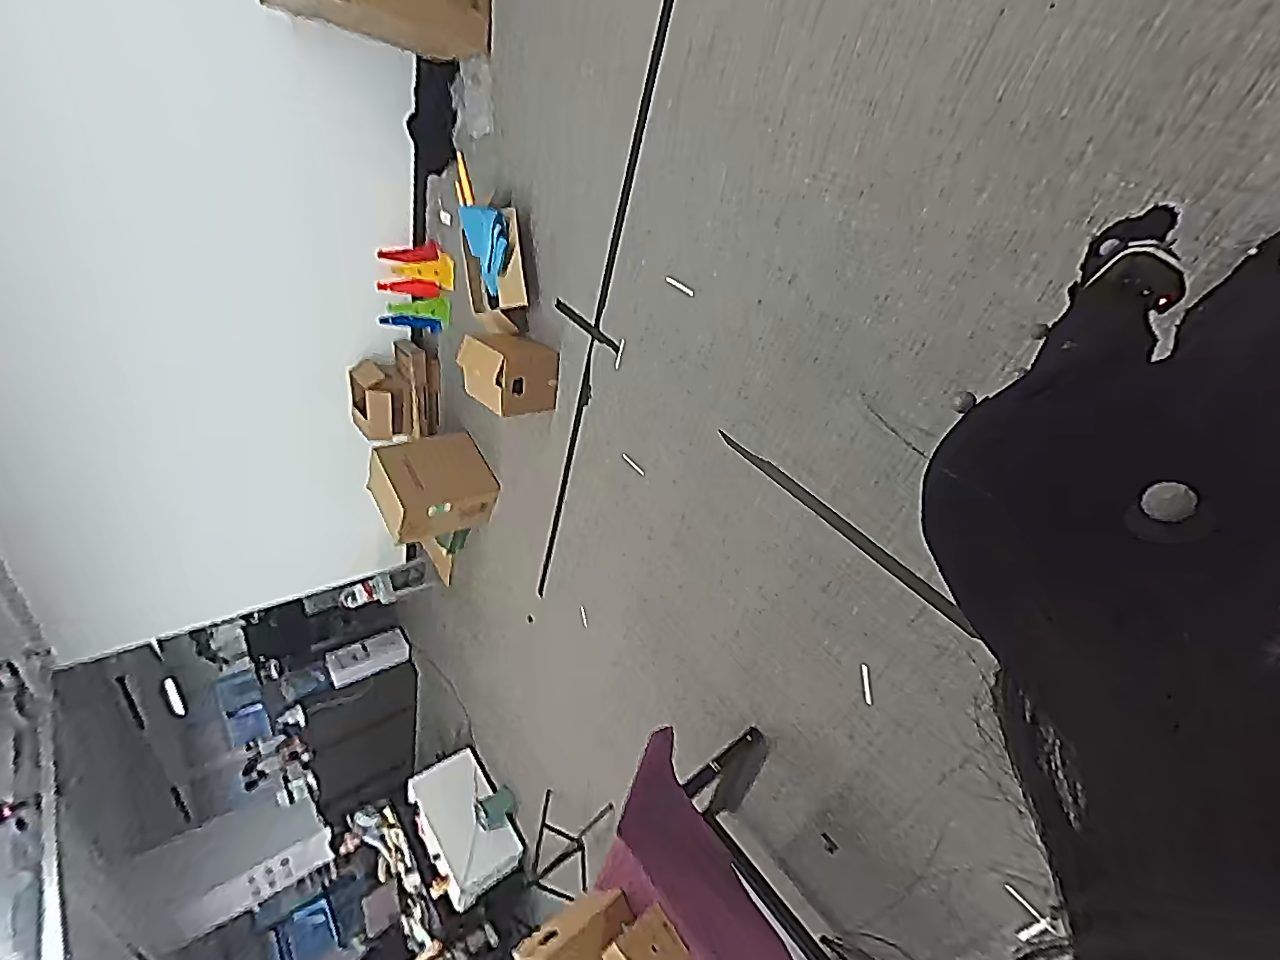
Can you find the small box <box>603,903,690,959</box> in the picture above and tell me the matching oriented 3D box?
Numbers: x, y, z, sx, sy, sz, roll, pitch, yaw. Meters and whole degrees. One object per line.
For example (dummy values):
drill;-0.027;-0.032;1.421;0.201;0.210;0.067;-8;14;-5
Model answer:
small box;0.021;1.398;1.590;0.168;0.176;0.179;45;132;31
